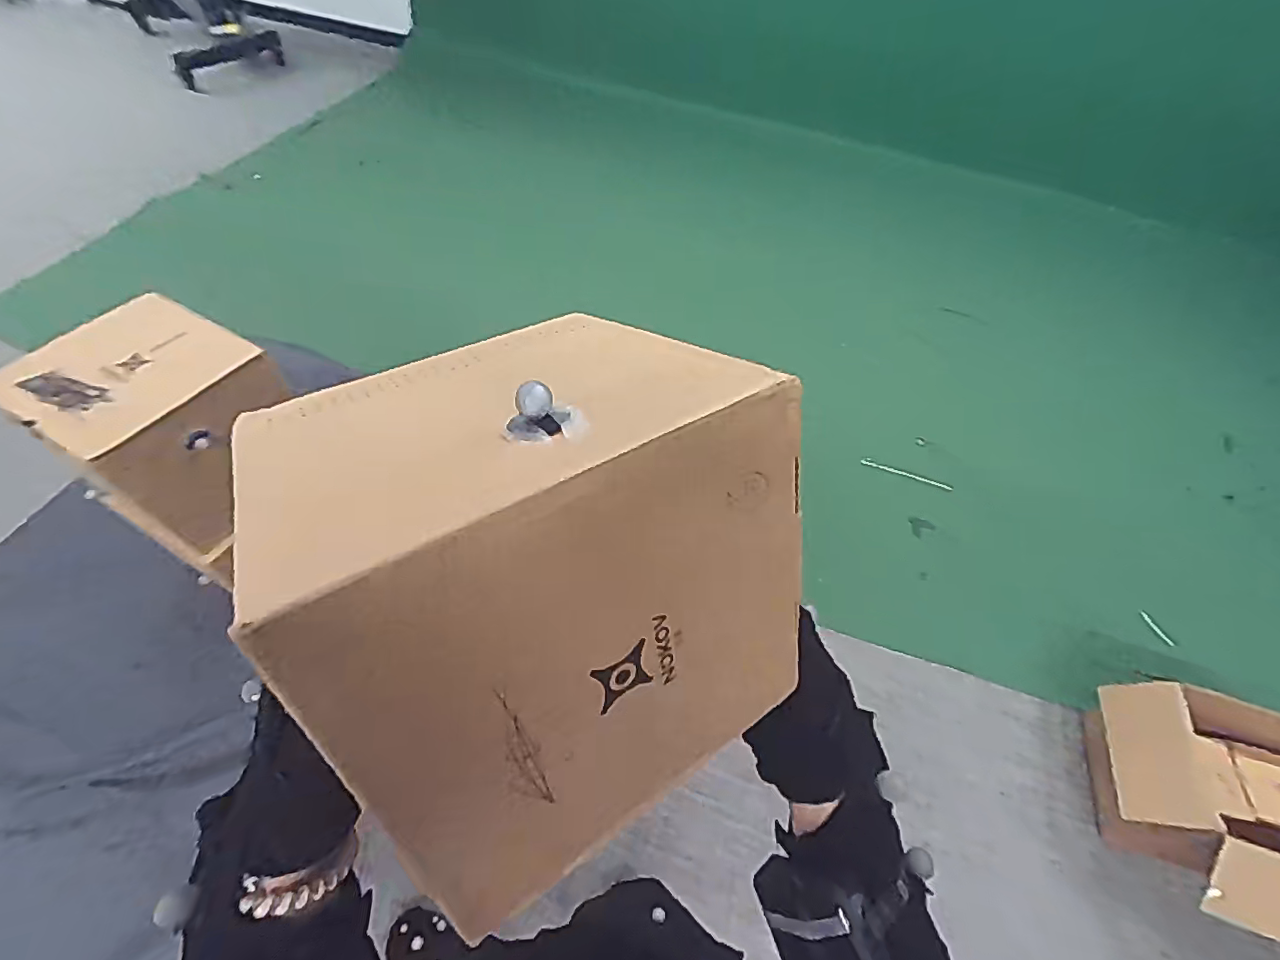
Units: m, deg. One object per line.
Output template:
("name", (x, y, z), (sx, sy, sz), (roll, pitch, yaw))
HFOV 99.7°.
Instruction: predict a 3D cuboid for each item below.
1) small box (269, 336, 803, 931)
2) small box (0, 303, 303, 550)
("small box", (-0.046, 0.040, 0.260), (0.179, 0.168, 0.176), (-25, 33, -25))
("small box", (-0.497, -0.053, 0.592), (0.168, 0.176, 0.179), (26, 56, 12))
